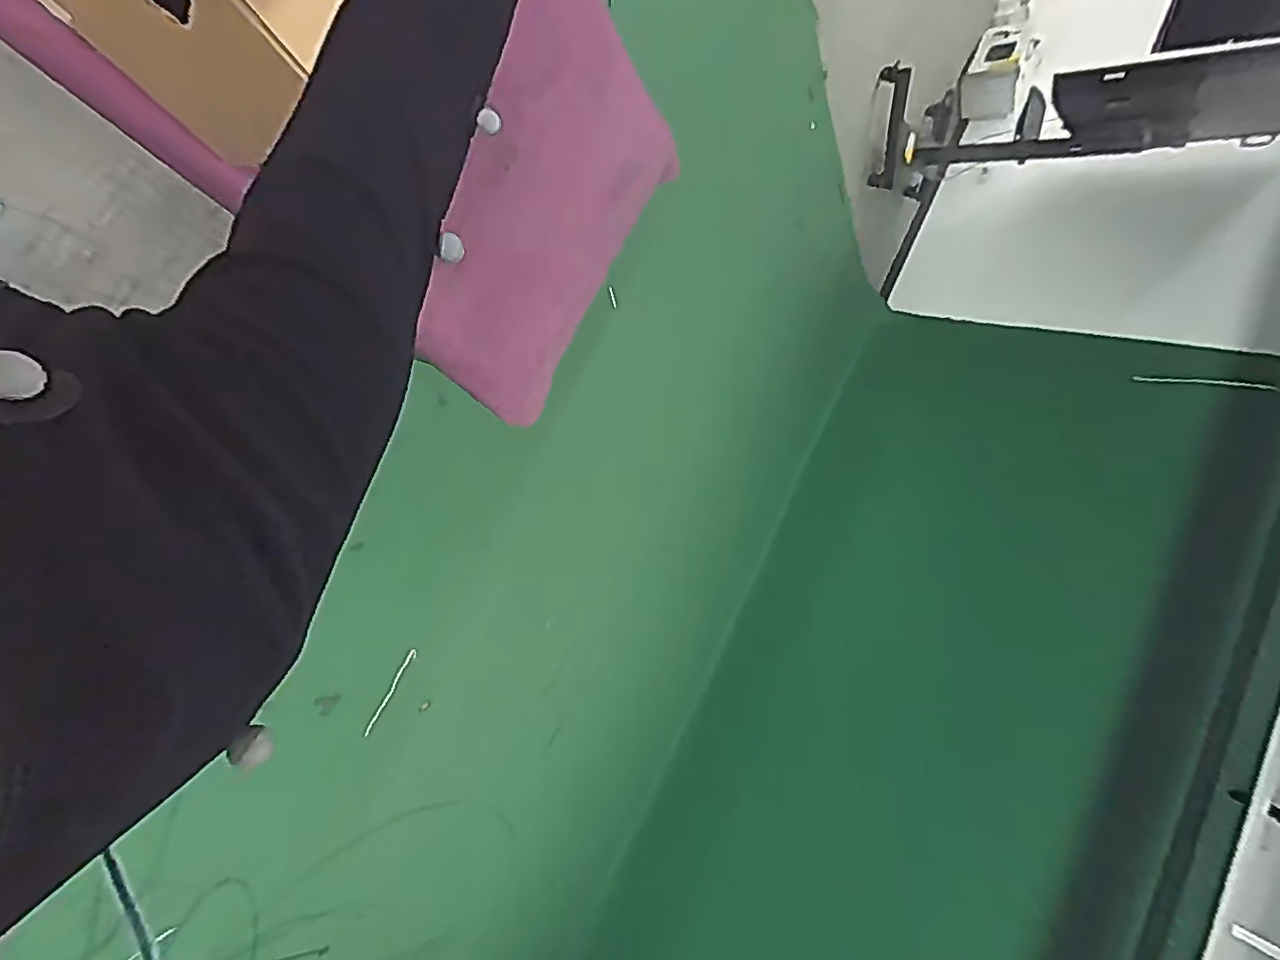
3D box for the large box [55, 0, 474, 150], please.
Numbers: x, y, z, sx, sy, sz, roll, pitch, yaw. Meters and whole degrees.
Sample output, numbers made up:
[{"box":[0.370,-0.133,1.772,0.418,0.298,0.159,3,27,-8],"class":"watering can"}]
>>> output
[{"box":[-0.304,-0.544,0.425,0.408,0.320,0.320,-60,144,-11],"class":"large box"}]
